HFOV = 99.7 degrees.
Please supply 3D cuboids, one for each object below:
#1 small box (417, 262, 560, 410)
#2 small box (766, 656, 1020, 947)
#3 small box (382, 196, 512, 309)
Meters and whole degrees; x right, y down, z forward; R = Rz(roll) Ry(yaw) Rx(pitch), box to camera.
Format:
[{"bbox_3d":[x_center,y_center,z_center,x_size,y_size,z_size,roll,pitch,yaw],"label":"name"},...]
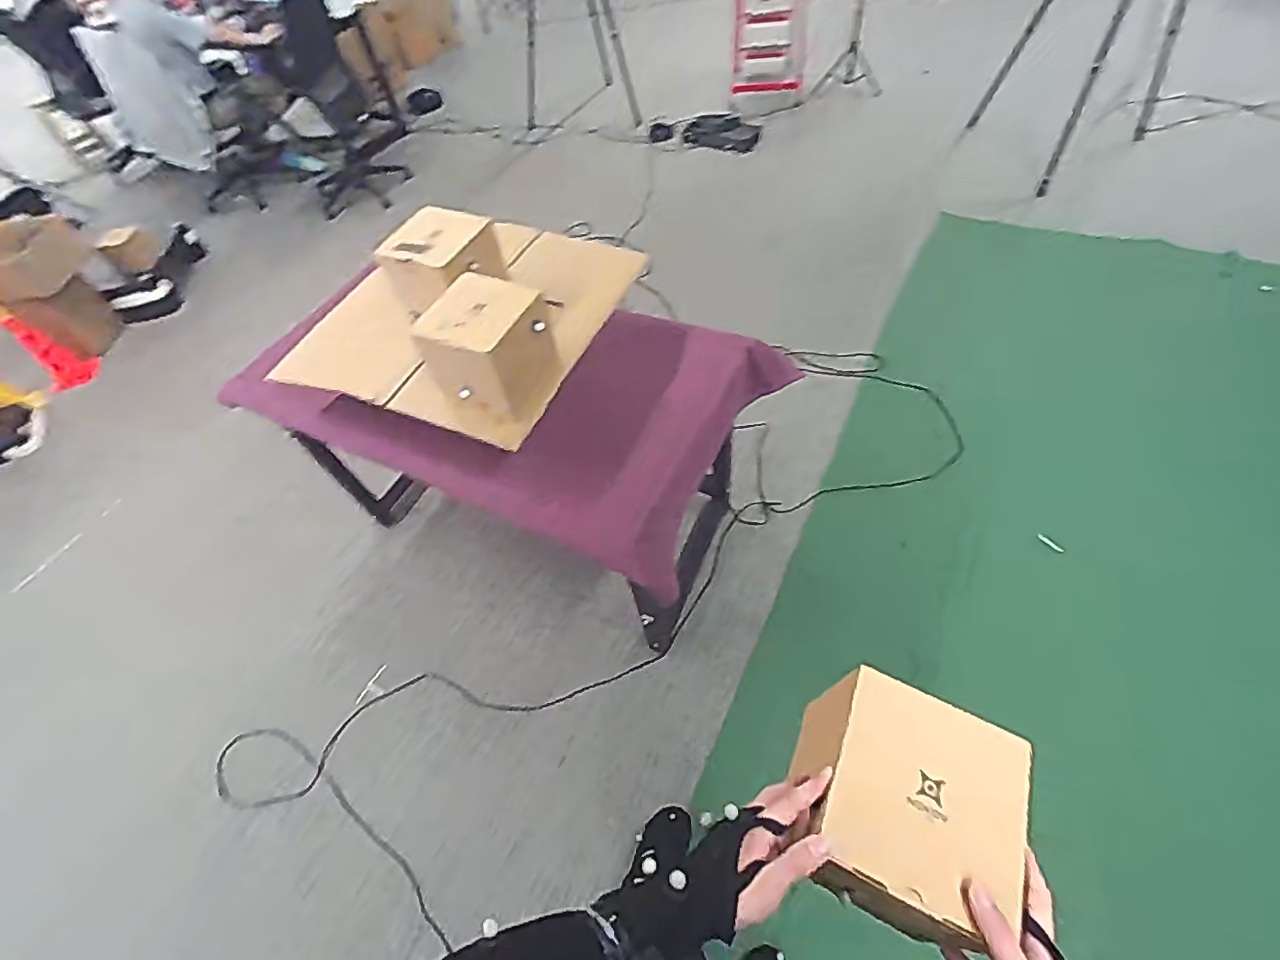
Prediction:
[{"bbox_3d":[-0.259,-0.259,0.982,0.168,0.176,0.179,20,61,17],"label":"small box"},{"bbox_3d":[0.243,0.313,0.546,0.168,0.176,0.179,23,58,11],"label":"small box"},{"bbox_3d":[-0.383,-0.450,1.119,0.168,0.176,0.179,19,60,16],"label":"small box"}]
